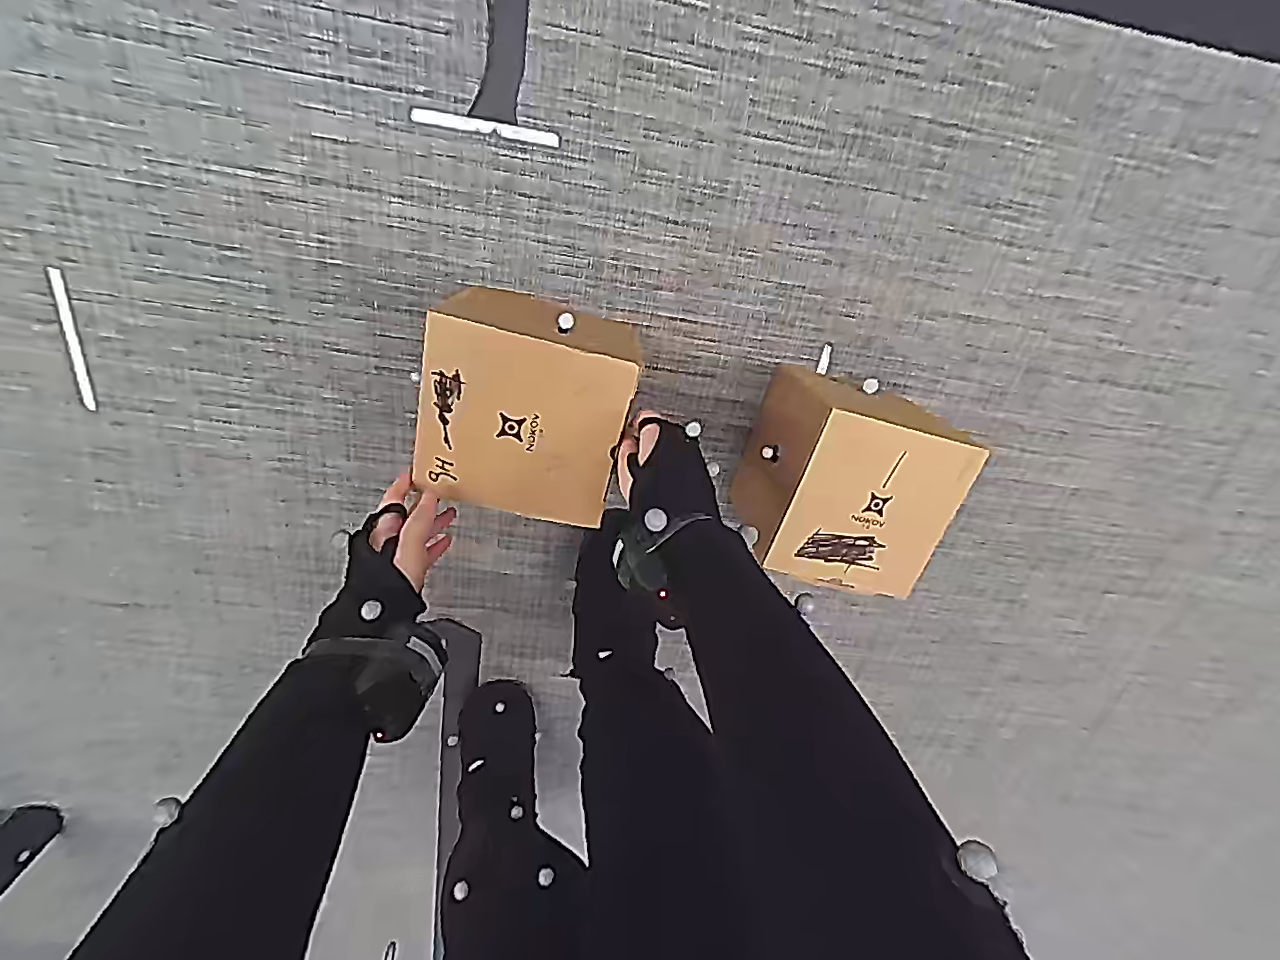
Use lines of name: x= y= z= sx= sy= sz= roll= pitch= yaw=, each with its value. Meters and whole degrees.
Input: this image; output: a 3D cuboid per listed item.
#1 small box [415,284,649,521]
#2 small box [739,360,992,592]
small box: x=-0.100 y=-0.084 z=0.532 sx=0.179 sy=0.176 sz=0.168 roll=13 pitch=115 yaw=-9
small box: x=0.219 y=-0.011 z=0.588 sx=0.168 sy=0.176 sz=0.179 roll=13 pitch=114 yaw=-10
